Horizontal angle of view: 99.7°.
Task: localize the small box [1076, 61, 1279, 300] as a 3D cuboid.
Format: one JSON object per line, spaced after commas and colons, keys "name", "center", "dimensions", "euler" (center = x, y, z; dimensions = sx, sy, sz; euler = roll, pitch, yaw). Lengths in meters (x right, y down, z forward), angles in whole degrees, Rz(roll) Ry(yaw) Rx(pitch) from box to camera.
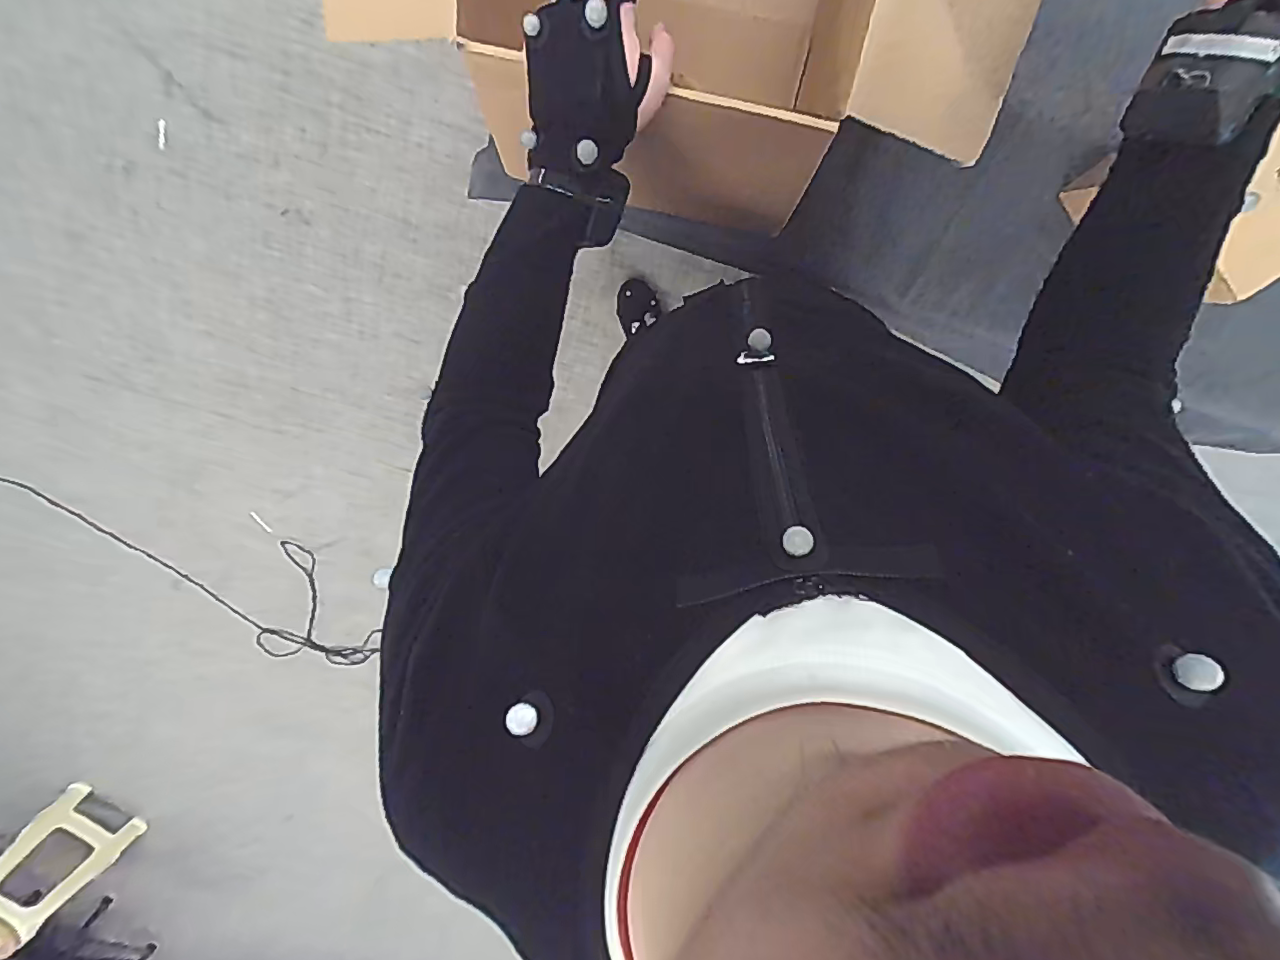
{"name": "small box", "center": [0.641, -0.325, 0.602], "dimensions": [0.179, 0.176, 0.168], "euler": [-38, 104, 17]}
